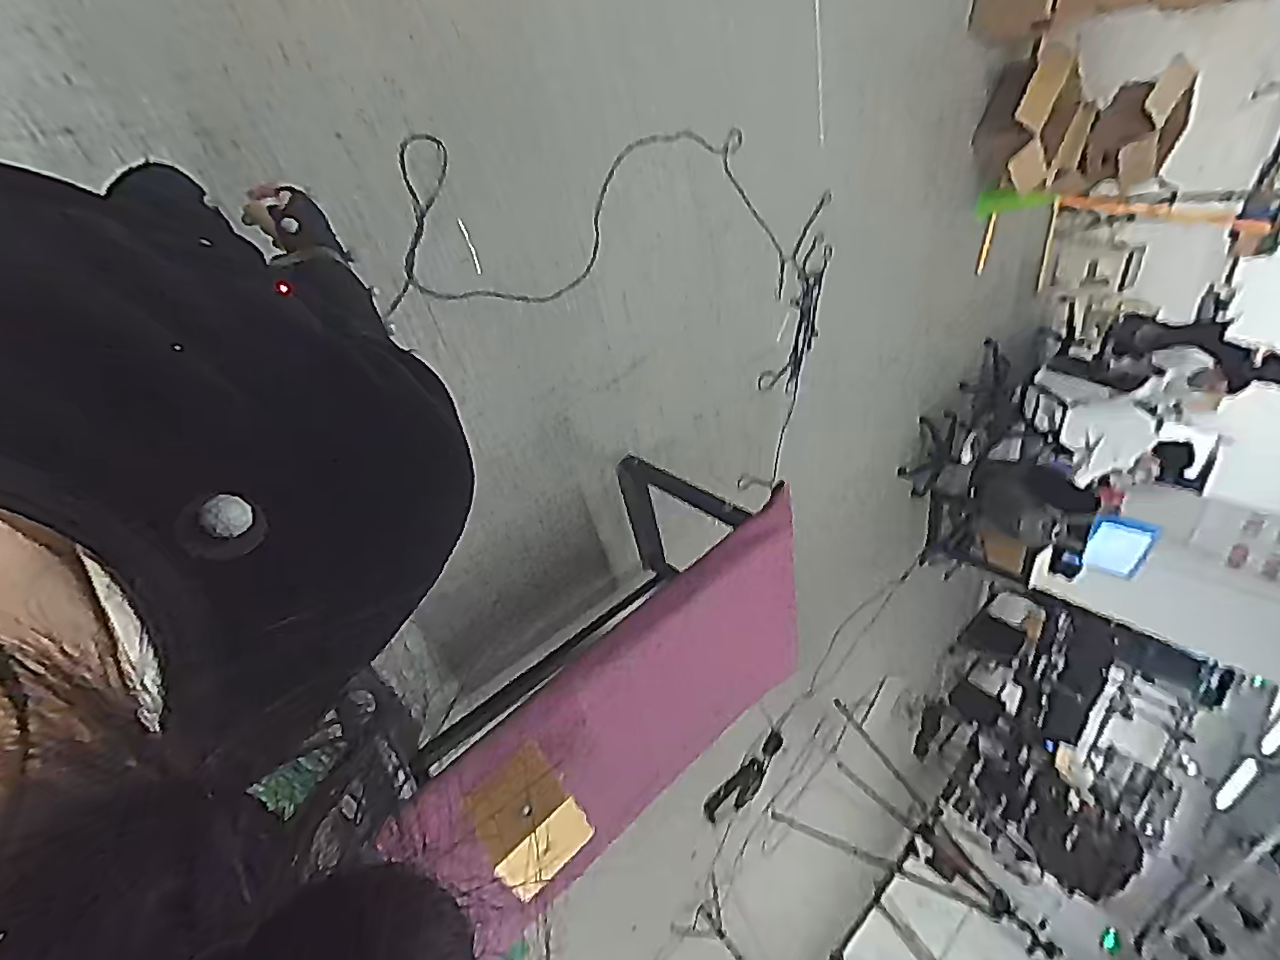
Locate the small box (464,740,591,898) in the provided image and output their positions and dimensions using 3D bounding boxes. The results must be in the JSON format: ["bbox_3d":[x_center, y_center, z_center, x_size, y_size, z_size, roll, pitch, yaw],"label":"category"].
[{"bbox_3d":[-0.235,0.683,1.104,0.179,0.176,0.168,-35,128,-25],"label":"small box"}]
